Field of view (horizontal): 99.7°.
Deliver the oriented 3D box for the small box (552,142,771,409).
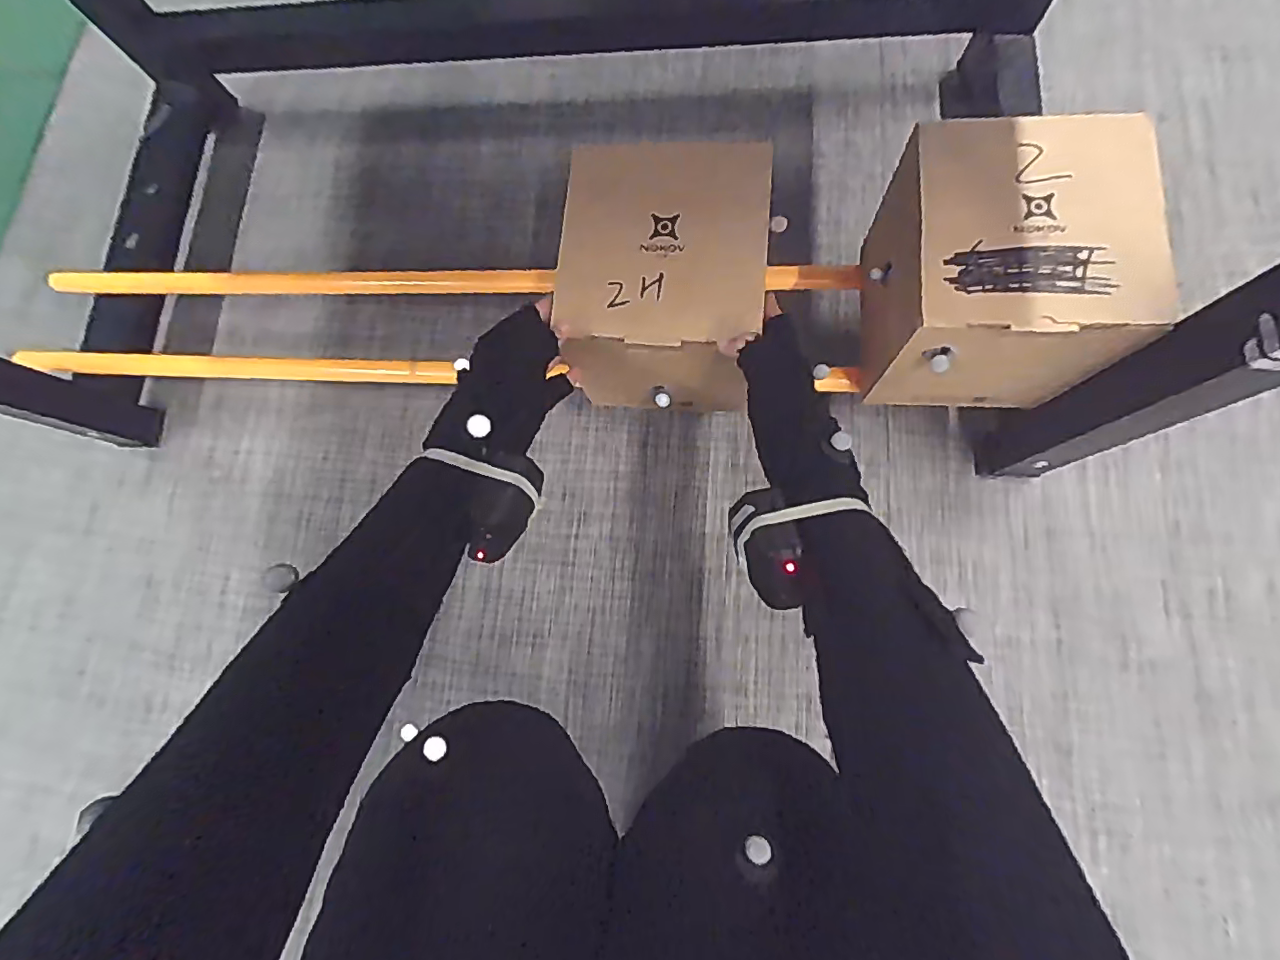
[{"bbox_3d":[0.027,-0.180,0.512,0.168,0.176,0.179,4,80,8],"label":"small box"}]
